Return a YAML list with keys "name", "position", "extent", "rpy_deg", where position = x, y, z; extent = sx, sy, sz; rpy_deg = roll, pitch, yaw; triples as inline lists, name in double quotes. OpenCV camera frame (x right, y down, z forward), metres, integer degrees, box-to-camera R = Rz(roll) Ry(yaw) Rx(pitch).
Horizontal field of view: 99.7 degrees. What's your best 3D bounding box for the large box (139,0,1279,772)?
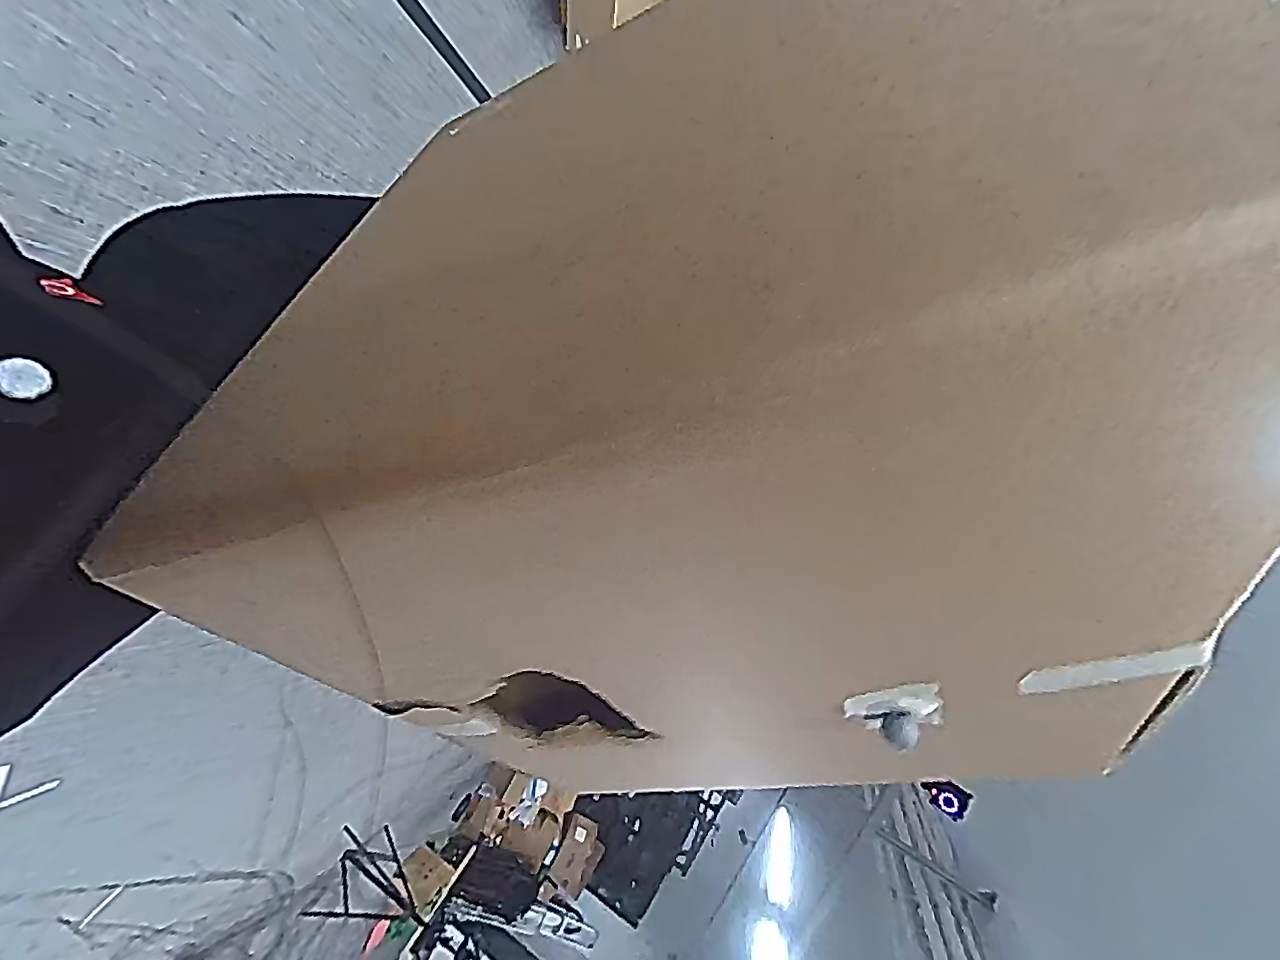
- name: "large box"
  position: [0.040, -0.069, 0.356]
  extent: [0.320, 0.320, 0.408]
  rpy_deg: [57, 27, -44]
